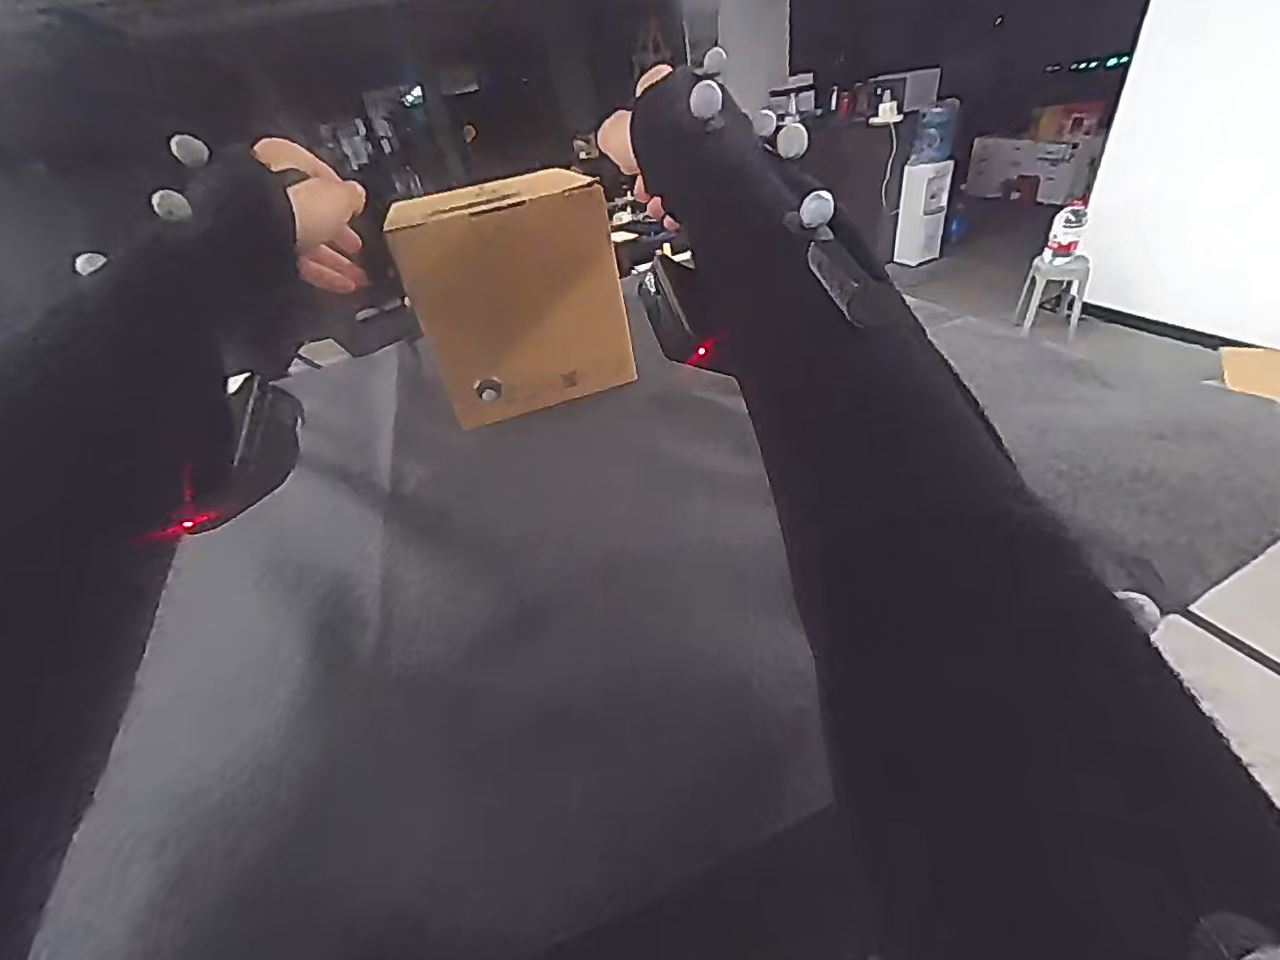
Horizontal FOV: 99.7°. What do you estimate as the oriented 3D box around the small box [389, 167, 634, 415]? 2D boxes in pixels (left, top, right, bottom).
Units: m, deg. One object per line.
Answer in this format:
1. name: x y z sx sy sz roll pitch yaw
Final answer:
1. small box: -0.114 -0.176 0.508 0.168 0.176 0.179 -18 36 -9
